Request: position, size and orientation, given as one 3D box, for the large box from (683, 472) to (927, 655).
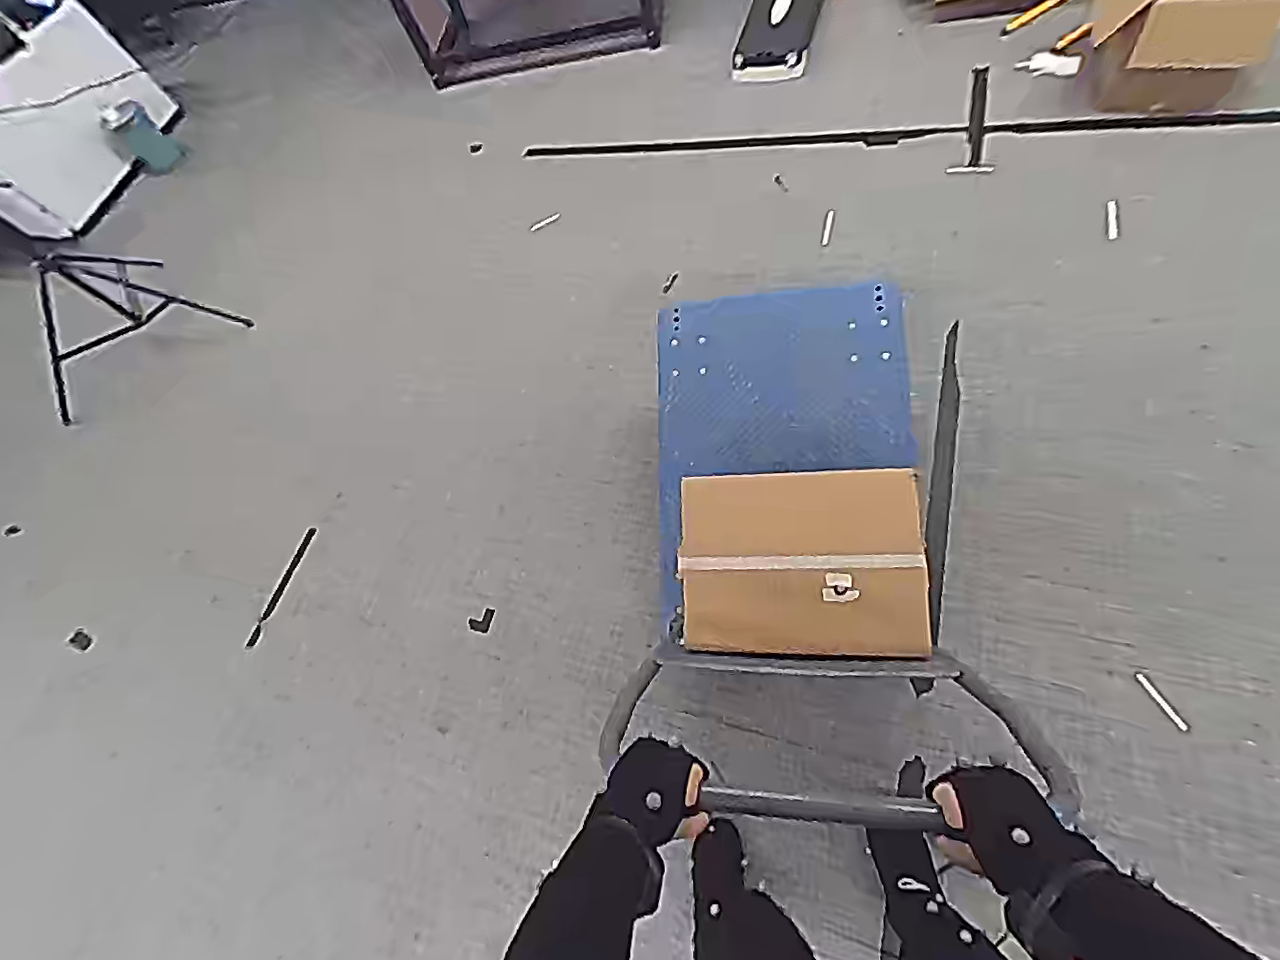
[{"bbox_3d":[0.308,0.171,1.099,0.408,0.320,0.320,-3,82,12],"label":"large box"}]
